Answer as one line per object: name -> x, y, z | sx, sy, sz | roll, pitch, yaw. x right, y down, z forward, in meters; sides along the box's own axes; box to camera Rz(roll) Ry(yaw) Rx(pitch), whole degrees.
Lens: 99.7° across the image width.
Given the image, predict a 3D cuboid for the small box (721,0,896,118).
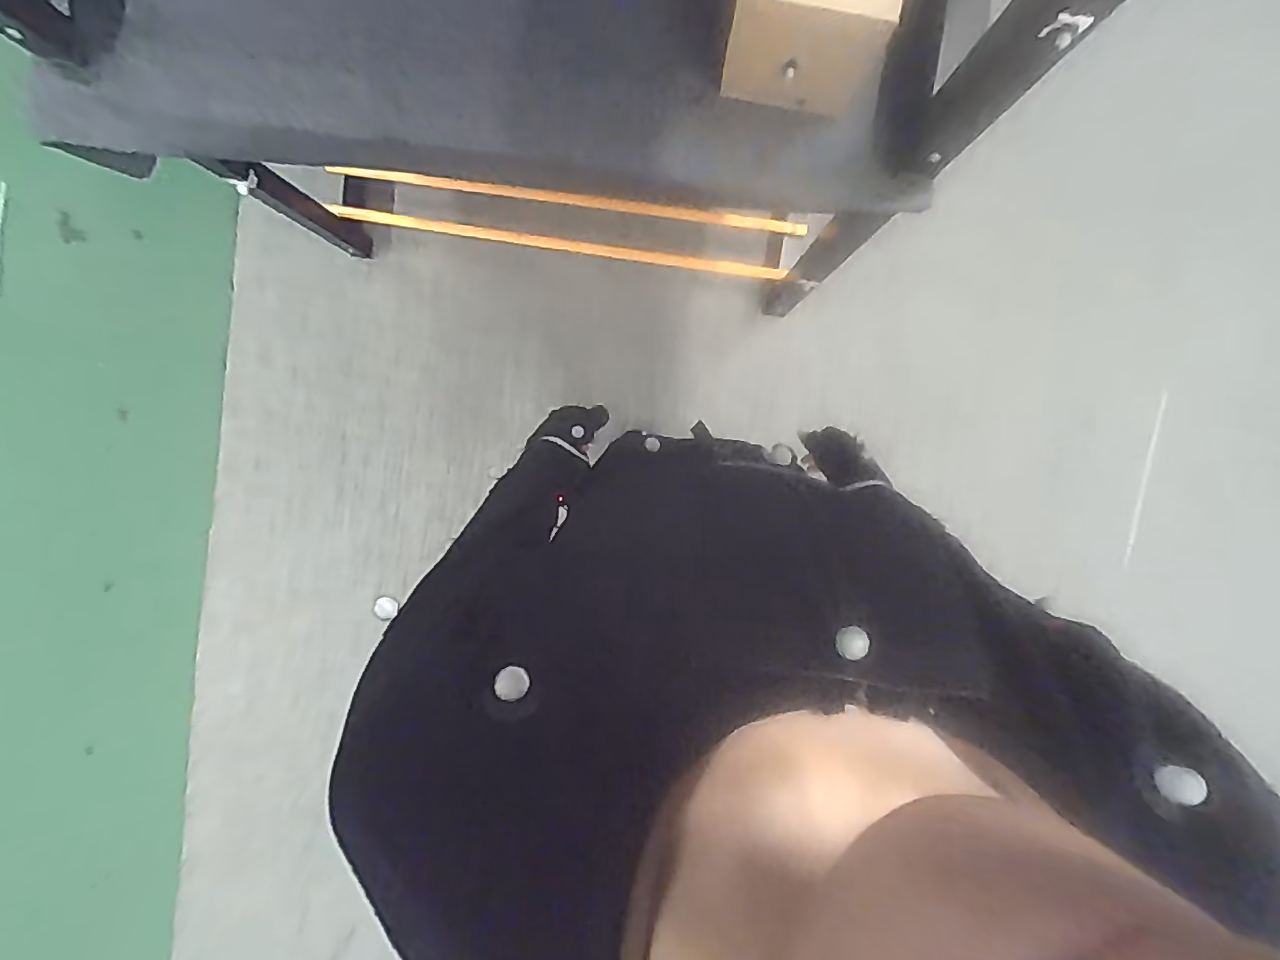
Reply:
small box -> 0.196, -0.564, 0.625 | 0.168, 0.176, 0.179 | 12, 94, 0
